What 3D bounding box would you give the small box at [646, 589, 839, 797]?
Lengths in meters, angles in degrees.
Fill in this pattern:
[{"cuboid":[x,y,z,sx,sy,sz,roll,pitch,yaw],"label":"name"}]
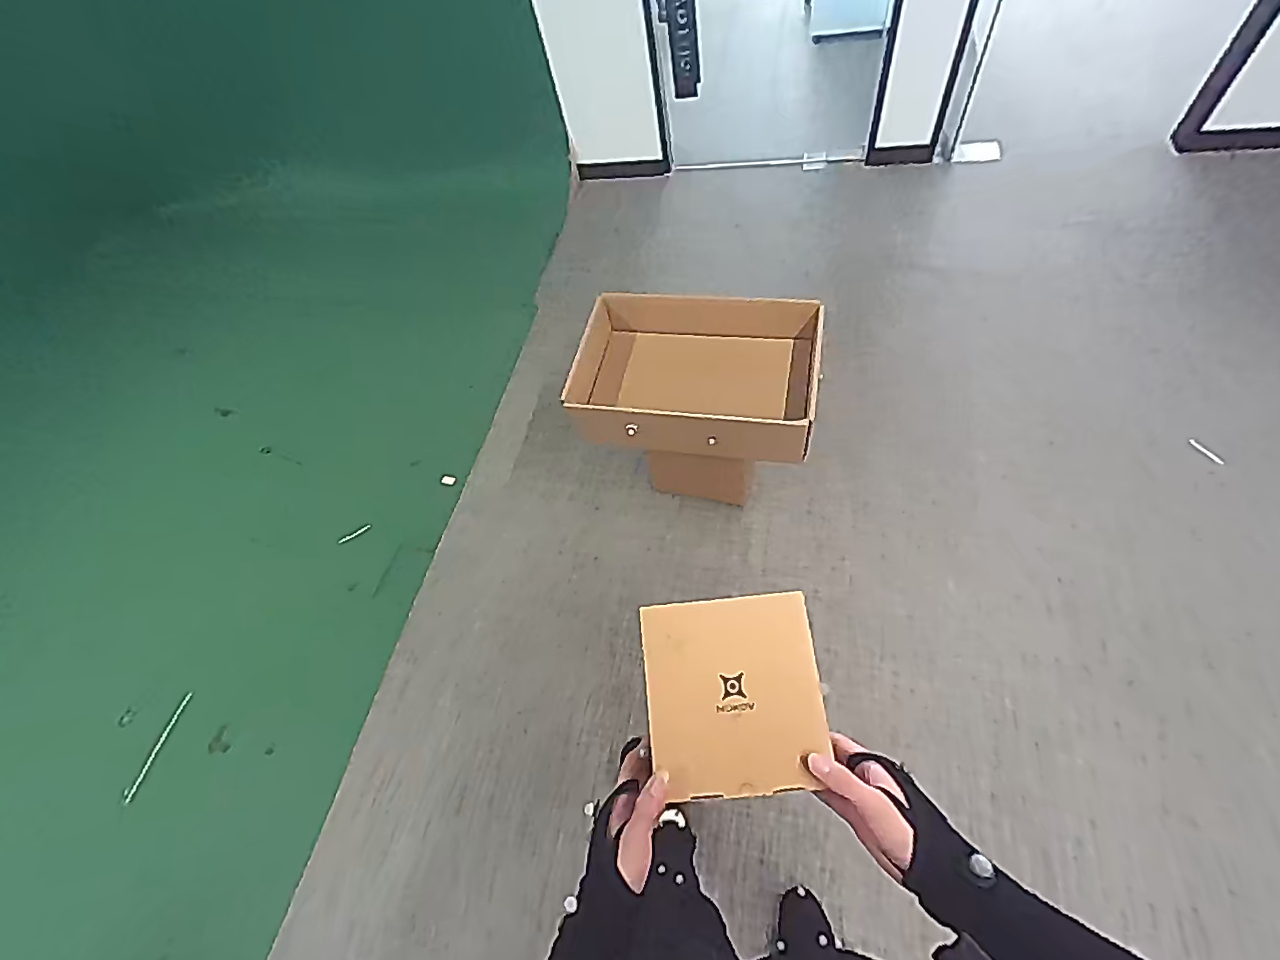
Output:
[{"cuboid":[0.095,0.224,0.586,0.168,0.176,0.179,-6,71,2],"label":"small box"}]
